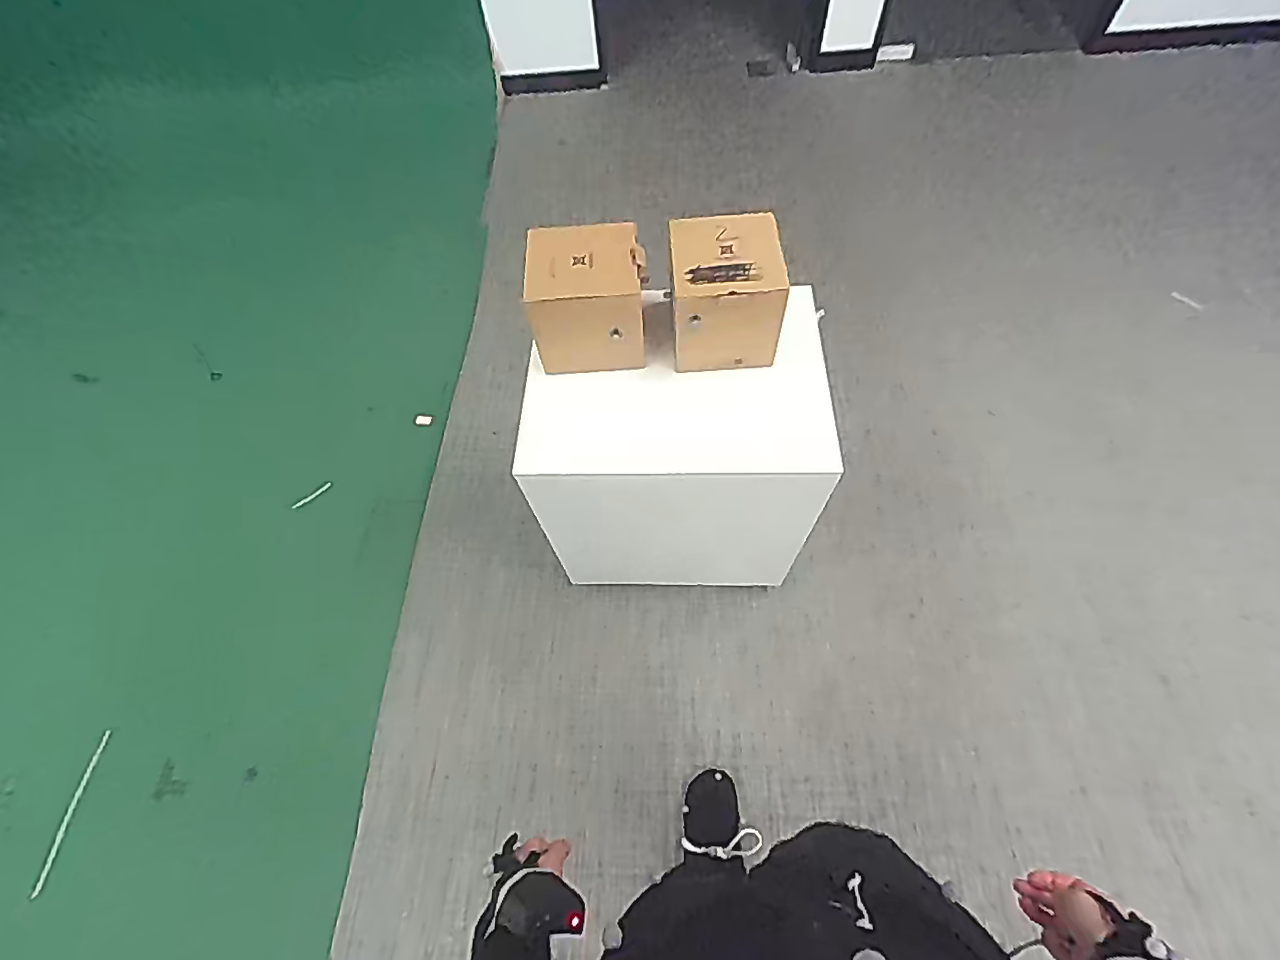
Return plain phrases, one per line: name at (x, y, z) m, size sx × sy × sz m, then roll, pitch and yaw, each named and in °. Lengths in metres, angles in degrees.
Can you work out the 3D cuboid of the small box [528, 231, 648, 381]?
small box at (-0.076, -0.282, 0.896) m, size 0.179 × 0.176 × 0.168 m, roll -4°, pitch 60°, yaw 2°
